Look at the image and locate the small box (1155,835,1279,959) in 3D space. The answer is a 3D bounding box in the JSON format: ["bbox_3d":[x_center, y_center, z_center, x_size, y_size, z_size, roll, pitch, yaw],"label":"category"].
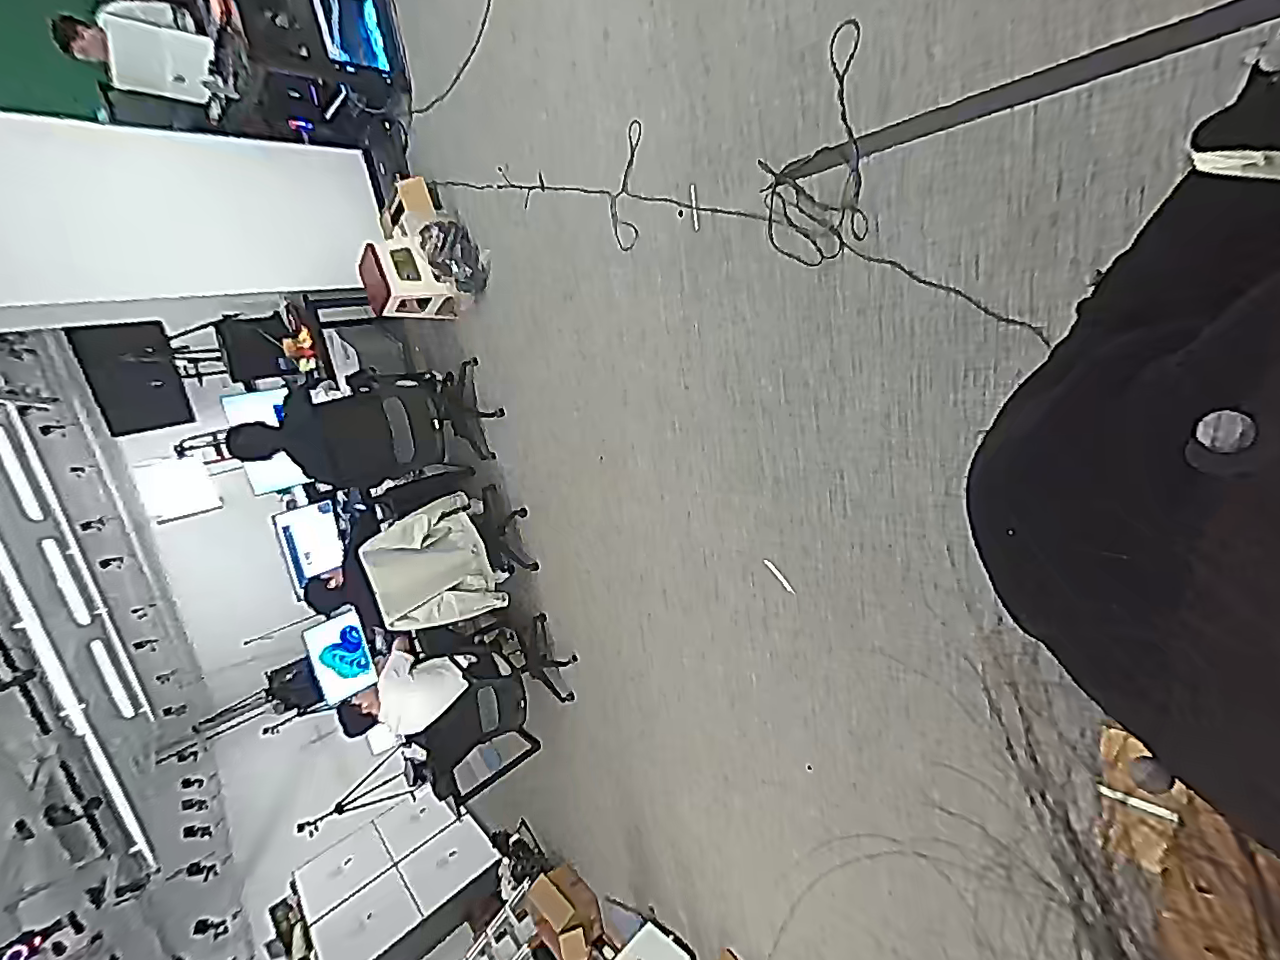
[{"bbox_3d":[0.907,0.699,0.824,0.168,0.176,0.179,3,110,50],"label":"small box"}]

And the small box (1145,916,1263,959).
[{"bbox_3d":[0.789,0.749,0.719,0.168,0.176,0.179,-3,104,52],"label":"small box"}]

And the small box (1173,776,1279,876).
[{"bbox_3d":[1.029,0.658,0.922,0.168,0.176,0.179,5,109,48],"label":"small box"}]
